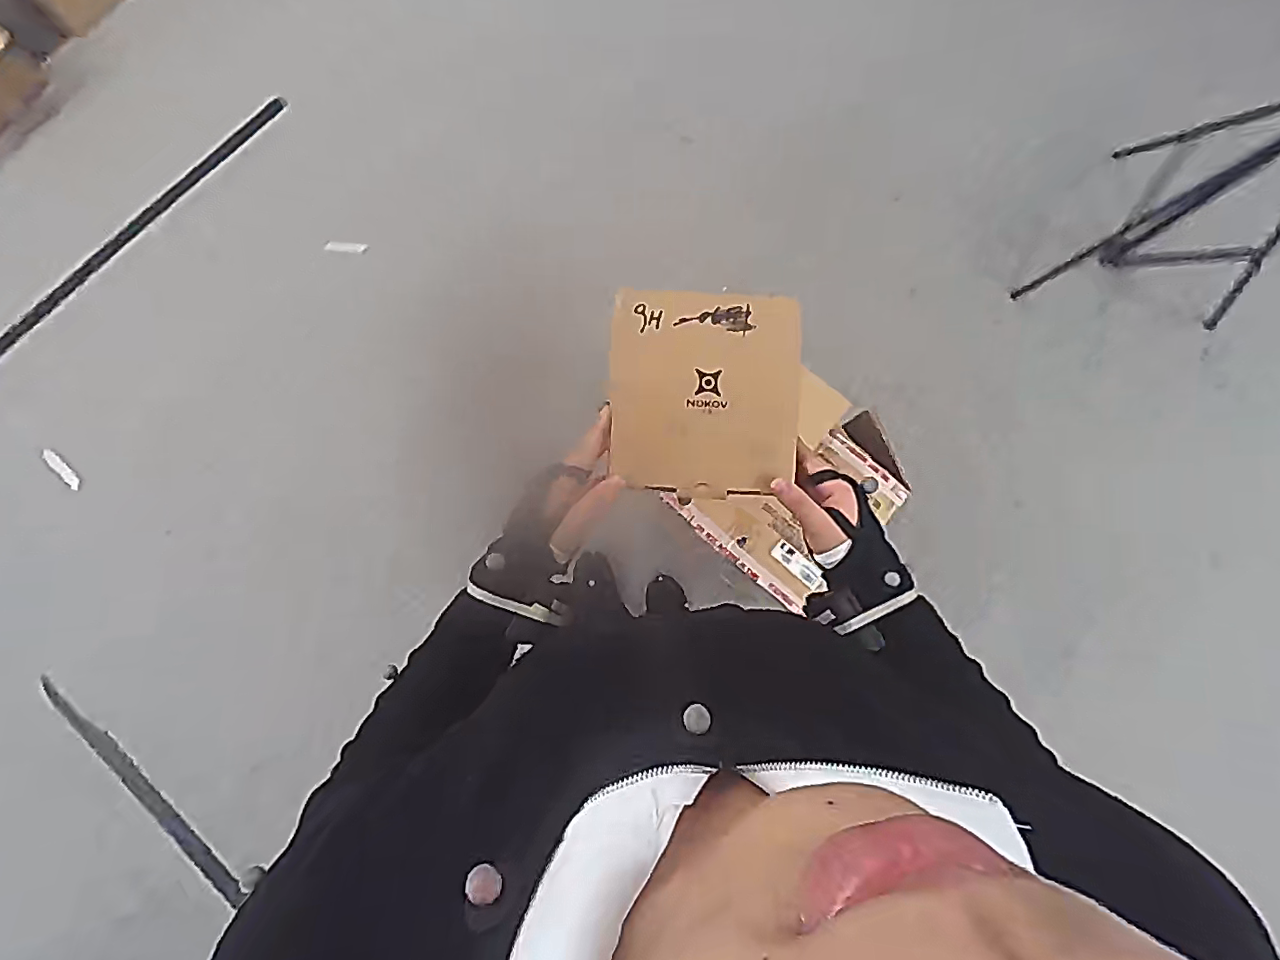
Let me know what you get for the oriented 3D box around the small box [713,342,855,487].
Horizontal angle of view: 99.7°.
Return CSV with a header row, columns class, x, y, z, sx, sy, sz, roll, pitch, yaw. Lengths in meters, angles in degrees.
class,x,y,z,sx,sy,sz,roll,pitch,yaw
small box,0.246,-0.109,0.981,0.168,0.176,0.179,40,86,8
